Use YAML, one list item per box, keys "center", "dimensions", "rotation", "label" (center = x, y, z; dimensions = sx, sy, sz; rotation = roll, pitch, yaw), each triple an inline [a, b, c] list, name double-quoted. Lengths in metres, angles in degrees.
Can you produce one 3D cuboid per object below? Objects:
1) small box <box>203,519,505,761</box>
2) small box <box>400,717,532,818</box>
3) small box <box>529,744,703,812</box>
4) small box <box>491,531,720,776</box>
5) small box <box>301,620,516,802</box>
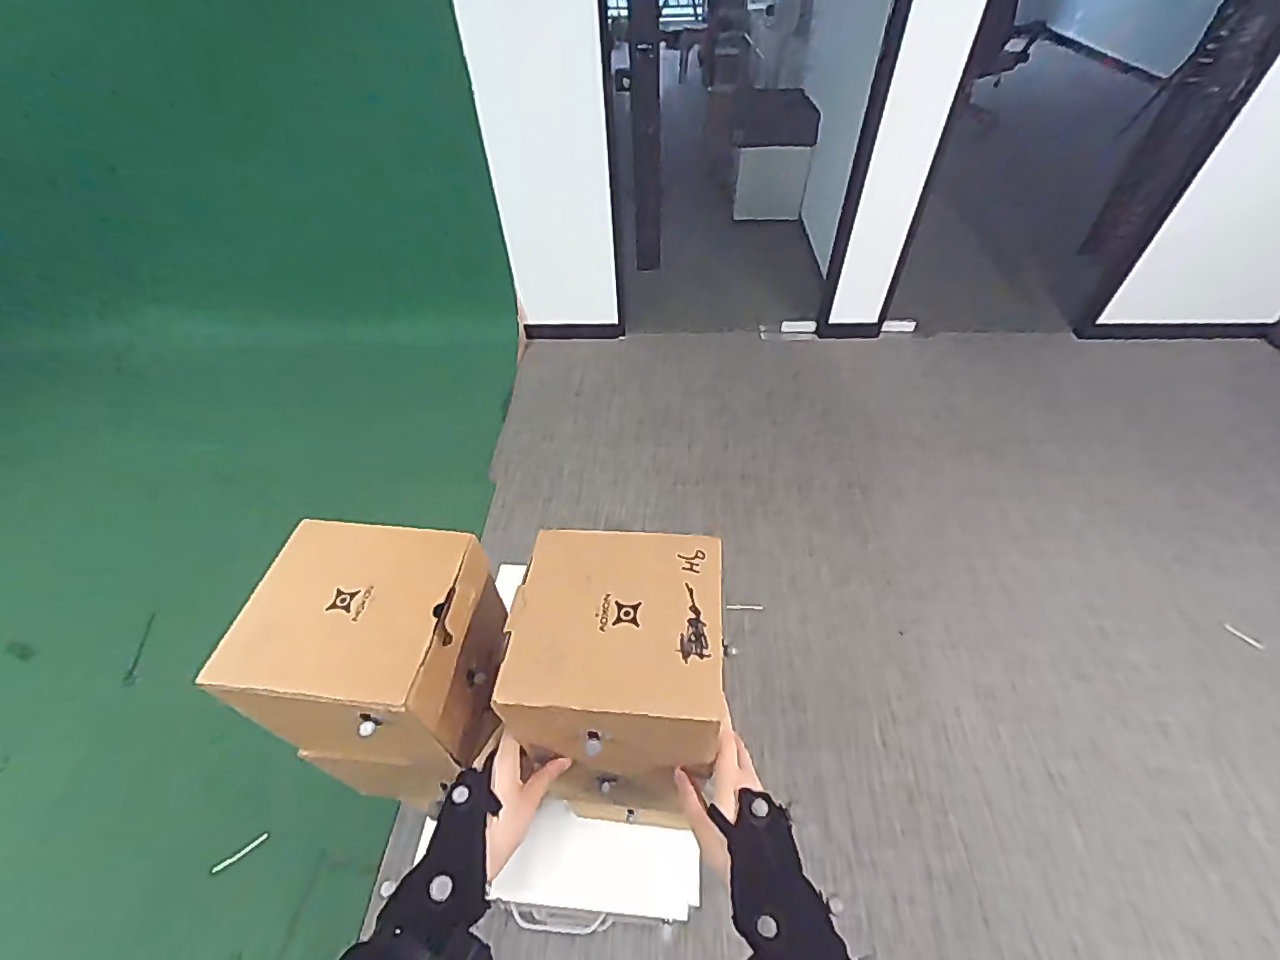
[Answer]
- center: [-0.250, 0.158, 0.528]
  dimensions: [0.179, 0.176, 0.168]
  rotation: [5, 48, 4]
  label: "small box"
- center: [-0.244, 0.368, 0.777]
  dimensions: [0.168, 0.176, 0.179]
  rotation: [4, 49, 3]
  label: "small box"
- center: [-0.012, 0.274, 0.635]
  dimensions: [0.179, 0.176, 0.168]
  rotation: [3, 49, 6]
  label: "small box"
- center: [-0.015, 0.166, 0.511]
  dimensions: [0.179, 0.176, 0.168]
  rotation: [1, 48, 6]
  label: "small box"
- center: [-0.246, 0.271, 0.646]
  dimensions: [0.179, 0.176, 0.168]
  rotation: [2, 47, 3]
  label: "small box"
